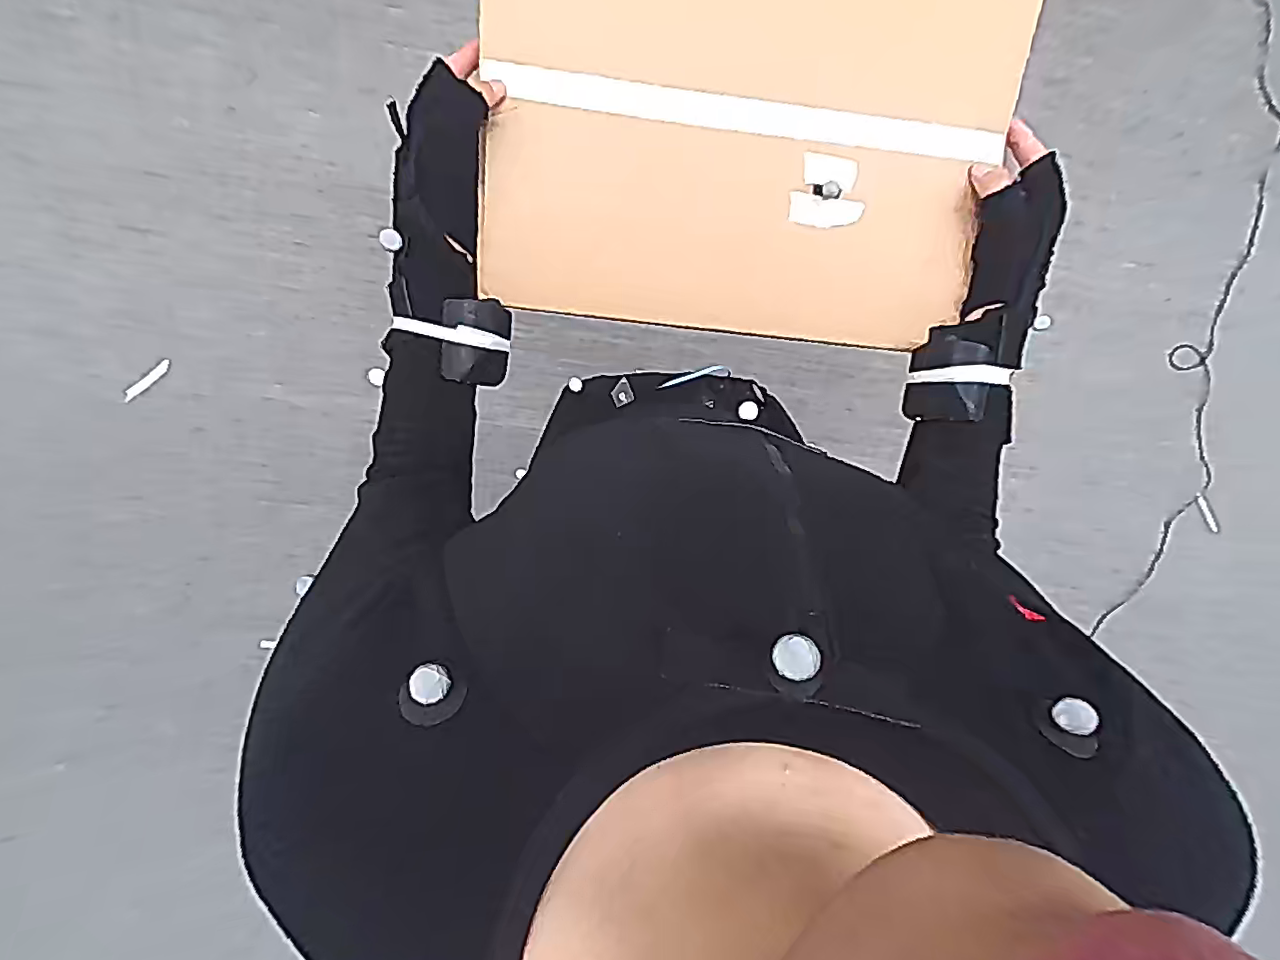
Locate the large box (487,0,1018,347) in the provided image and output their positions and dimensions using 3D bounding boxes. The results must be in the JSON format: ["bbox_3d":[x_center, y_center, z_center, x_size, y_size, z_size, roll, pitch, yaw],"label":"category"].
[{"bbox_3d":[0.069,-0.321,0.566,0.408,0.320,0.320,4,108,-6],"label":"large box"}]
